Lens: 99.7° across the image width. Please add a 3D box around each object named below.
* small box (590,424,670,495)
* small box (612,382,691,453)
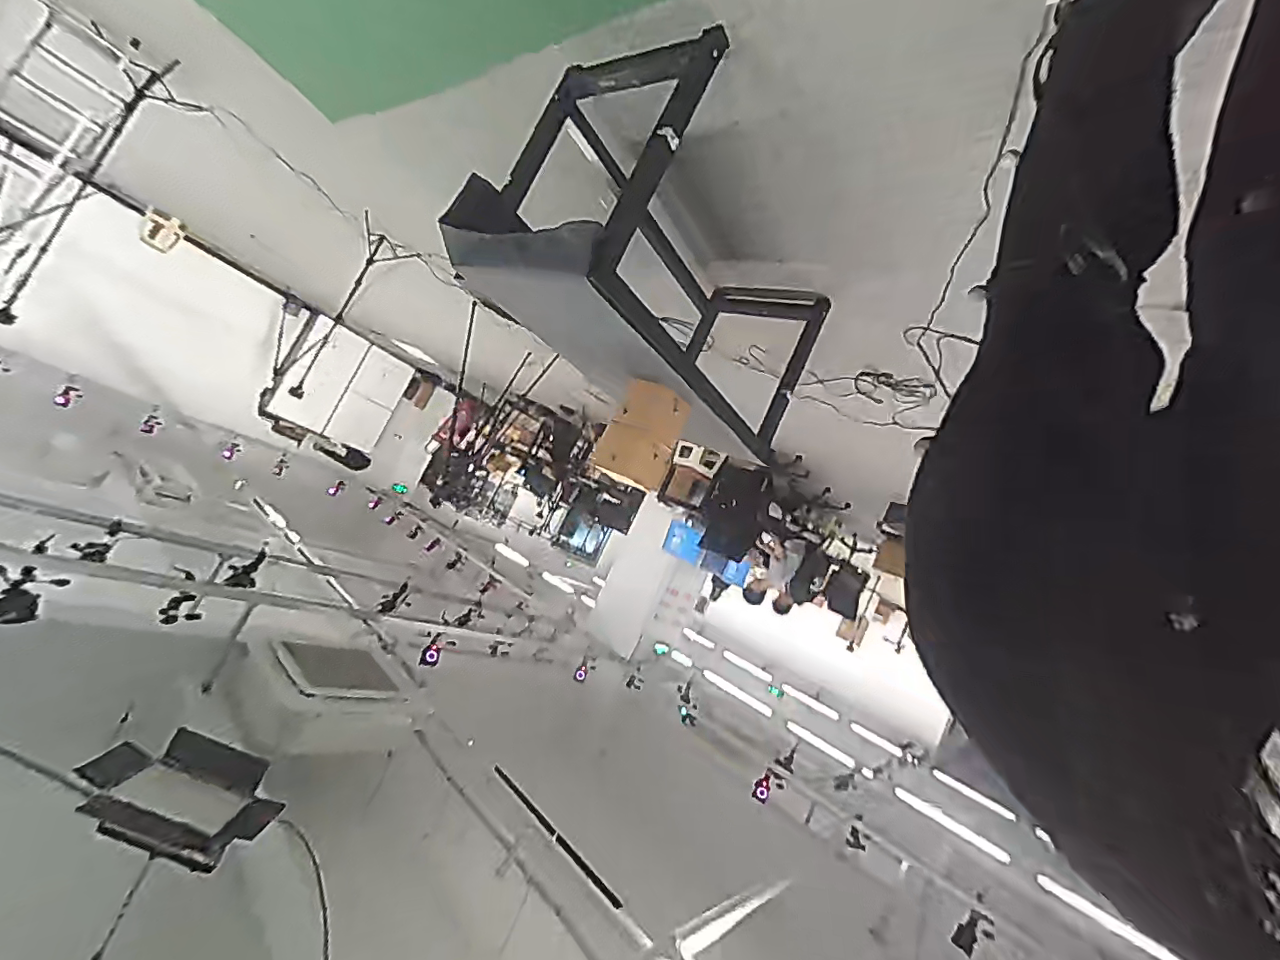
[{"bbox_3d":[-0.029,-0.073,1.827,0.179,0.176,0.168,21,172,39],"label":"small box"},{"bbox_3d":[0.042,-0.218,1.844,0.179,0.176,0.168,21,173,39],"label":"small box"}]
